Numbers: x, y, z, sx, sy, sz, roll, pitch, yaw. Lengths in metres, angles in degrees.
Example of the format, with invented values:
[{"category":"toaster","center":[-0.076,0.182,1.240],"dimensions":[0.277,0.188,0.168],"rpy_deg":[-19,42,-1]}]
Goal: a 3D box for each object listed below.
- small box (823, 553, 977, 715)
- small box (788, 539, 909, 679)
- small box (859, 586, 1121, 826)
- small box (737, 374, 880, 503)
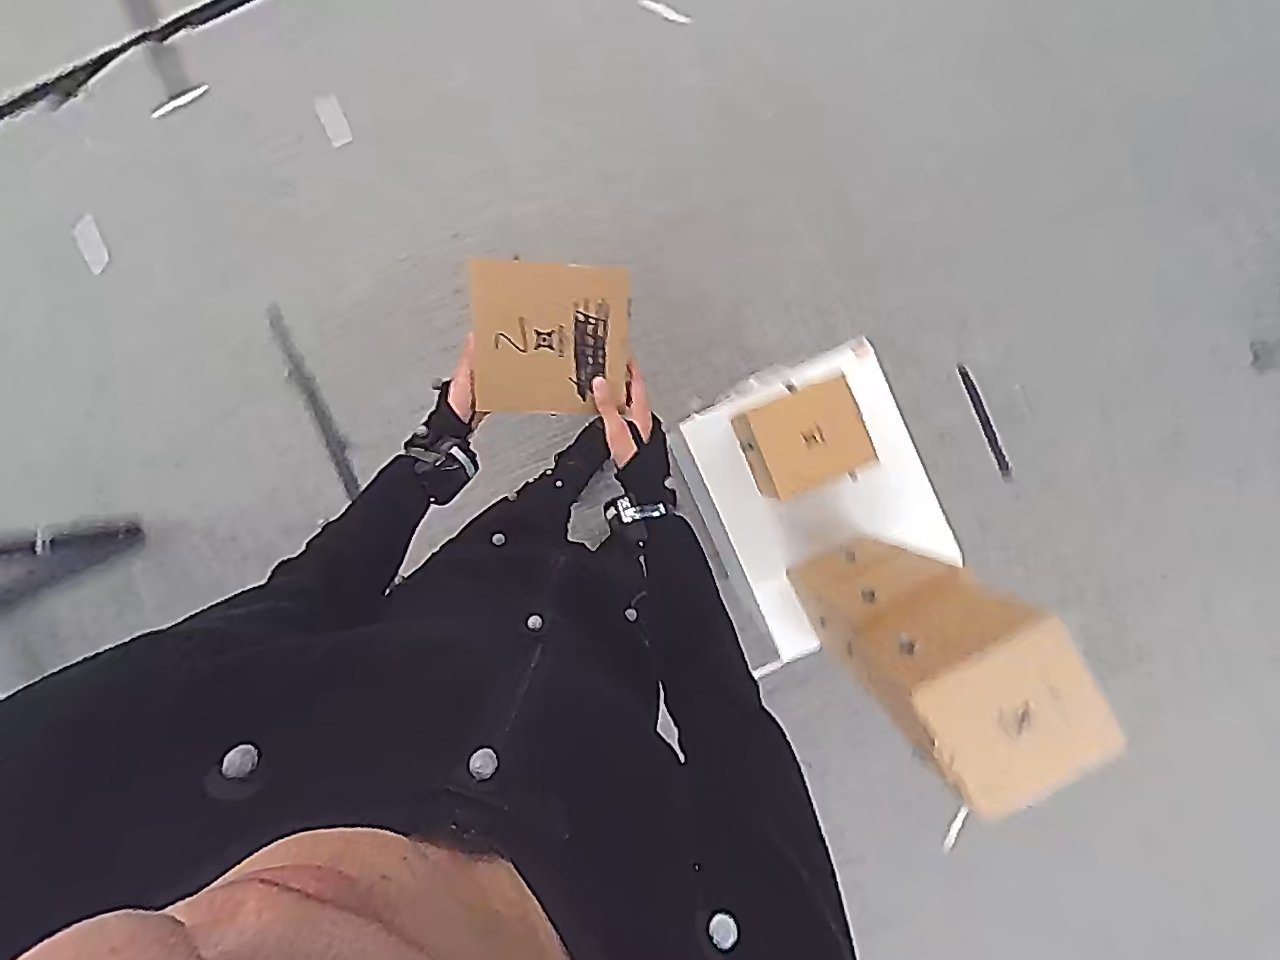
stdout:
[{"category":"small box","center":[0.393,0.225,0.804],"dimensions":[0.179,0.176,0.168],"rpy_deg":[-24,92,1]},{"category":"small box","center":[0.393,0.218,0.969],"dimensions":[0.179,0.176,0.168],"rpy_deg":[-25,91,1]},{"category":"small box","center":[0.389,0.250,0.642],"dimensions":[0.179,0.176,0.168],"rpy_deg":[-29,93,1]},{"category":"small box","center":[0.283,-0.070,0.957],"dimensions":[0.179,0.176,0.168],"rpy_deg":[-22,93,0]}]
